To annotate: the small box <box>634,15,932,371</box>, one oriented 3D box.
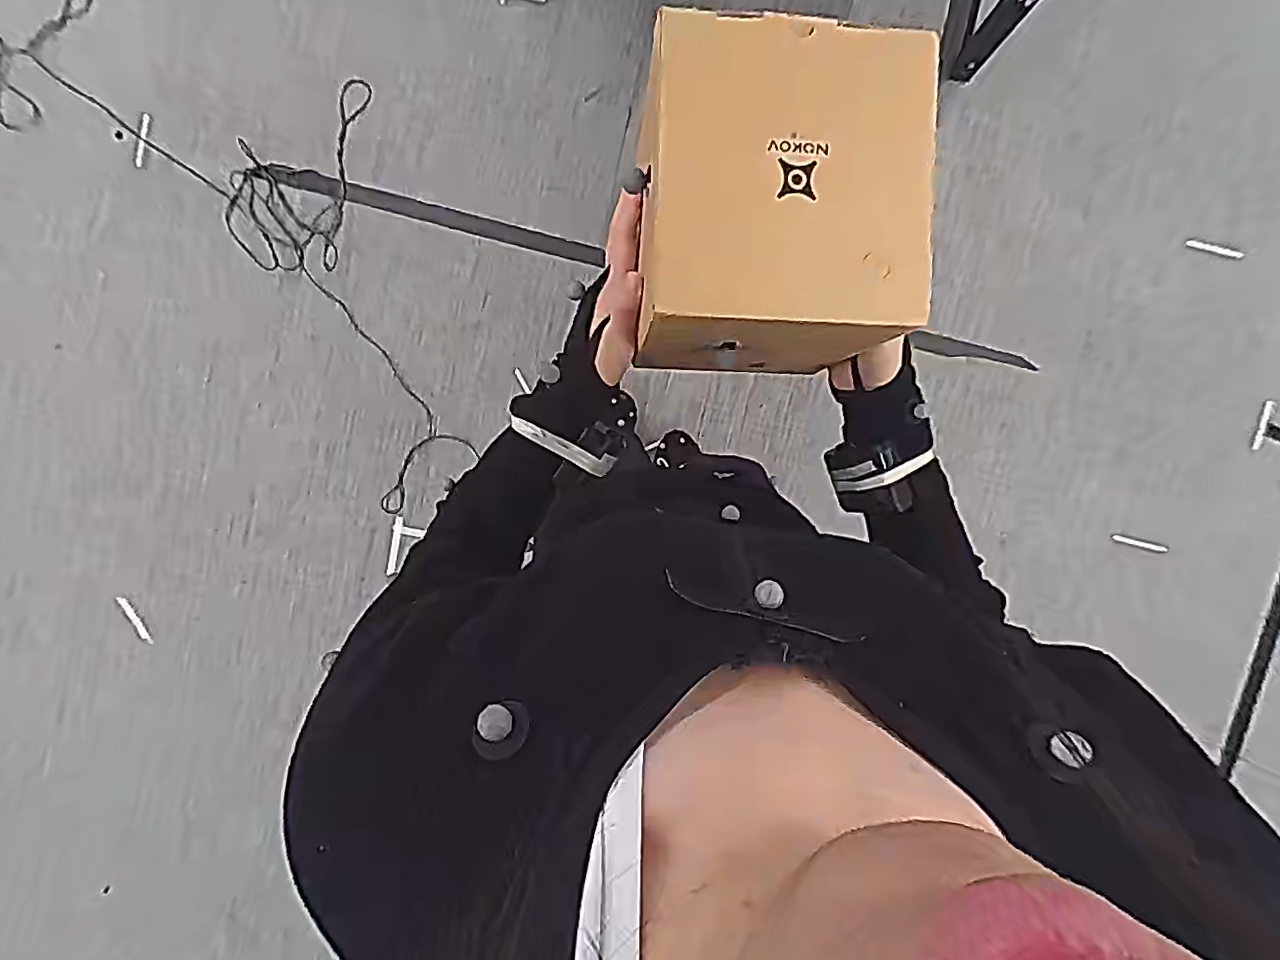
[{"bbox_3d":[0.085,-0.181,0.398,0.168,0.176,0.179,1,90,-5],"label":"small box"}]
